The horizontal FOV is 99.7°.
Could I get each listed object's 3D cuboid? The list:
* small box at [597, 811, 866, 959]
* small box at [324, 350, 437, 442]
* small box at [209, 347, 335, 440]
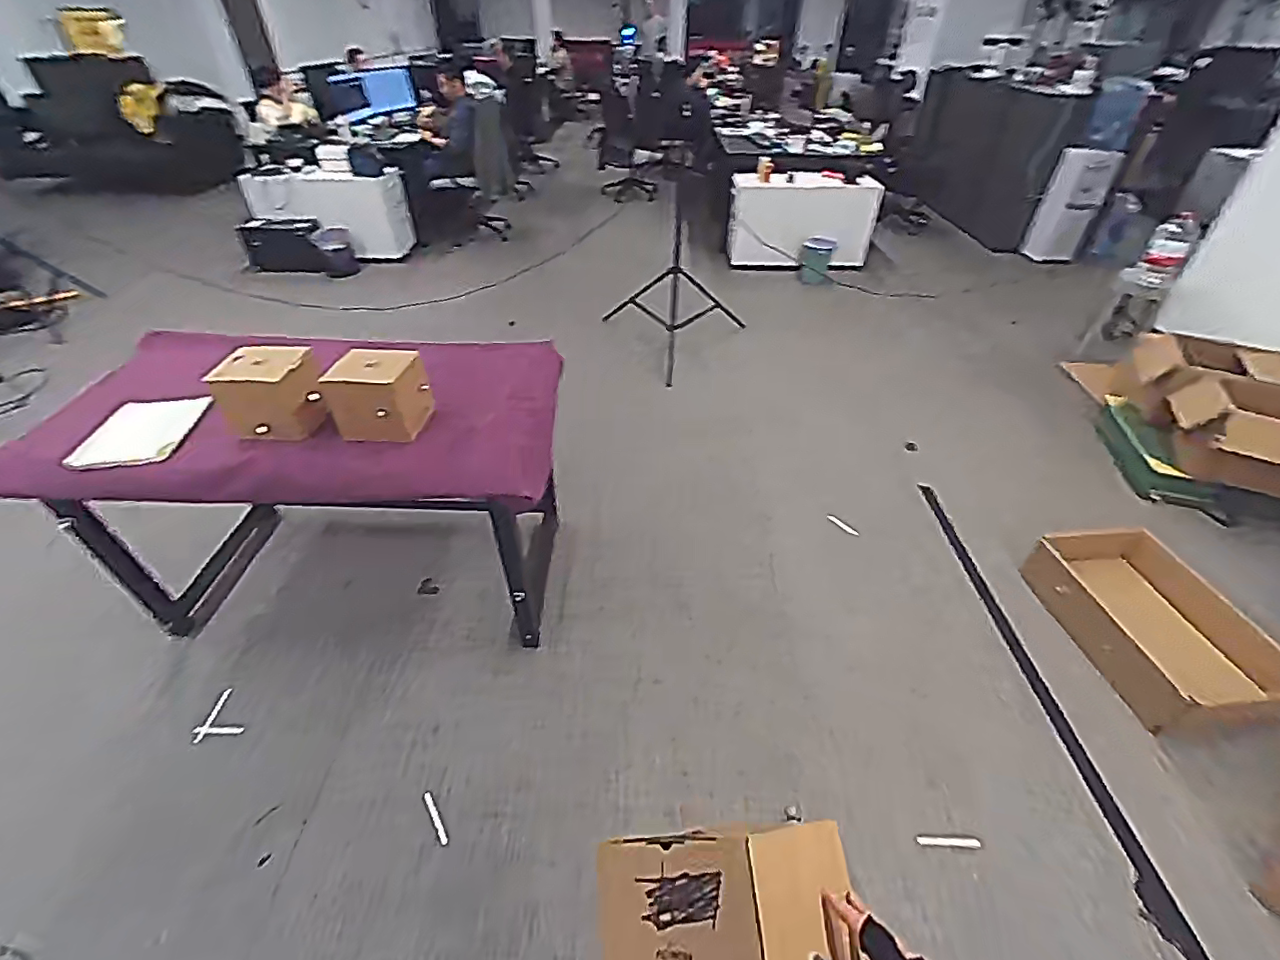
[{"bbox_3d":[0.081,0.395,0.470,0.168,0.176,0.179,-27,54,33],"label":"small box"},{"bbox_3d":[-0.625,-0.205,1.332,0.179,0.176,0.168,2,38,4],"label":"small box"},{"bbox_3d":[-0.891,-0.211,1.336,0.179,0.176,0.168,1,40,0],"label":"small box"}]
